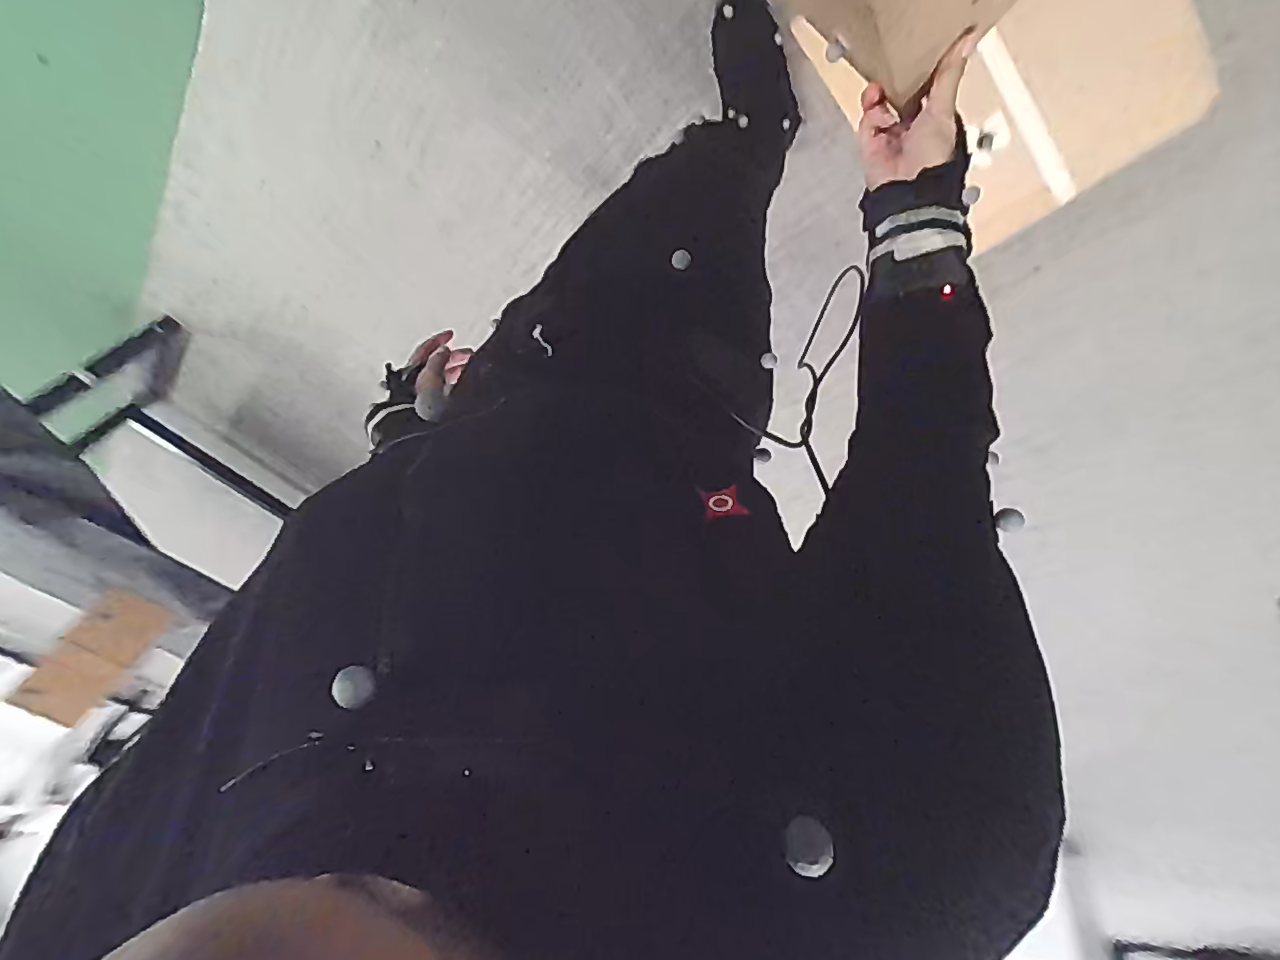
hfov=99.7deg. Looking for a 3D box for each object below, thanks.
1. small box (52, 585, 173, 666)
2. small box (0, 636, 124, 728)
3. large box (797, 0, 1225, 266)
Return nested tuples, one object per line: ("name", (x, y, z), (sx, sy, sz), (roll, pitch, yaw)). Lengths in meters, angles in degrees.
("small box", (-1.479, 0.411, 1.520), (0.168, 0.176, 0.179), (-25, 123, 40))
("small box", (-1.518, 0.532, 1.418), (0.168, 0.176, 0.179), (-23, 122, 39))
("large box", (0.461, -0.597, 0.737), (0.408, 0.320, 0.320), (40, 134, -23))
